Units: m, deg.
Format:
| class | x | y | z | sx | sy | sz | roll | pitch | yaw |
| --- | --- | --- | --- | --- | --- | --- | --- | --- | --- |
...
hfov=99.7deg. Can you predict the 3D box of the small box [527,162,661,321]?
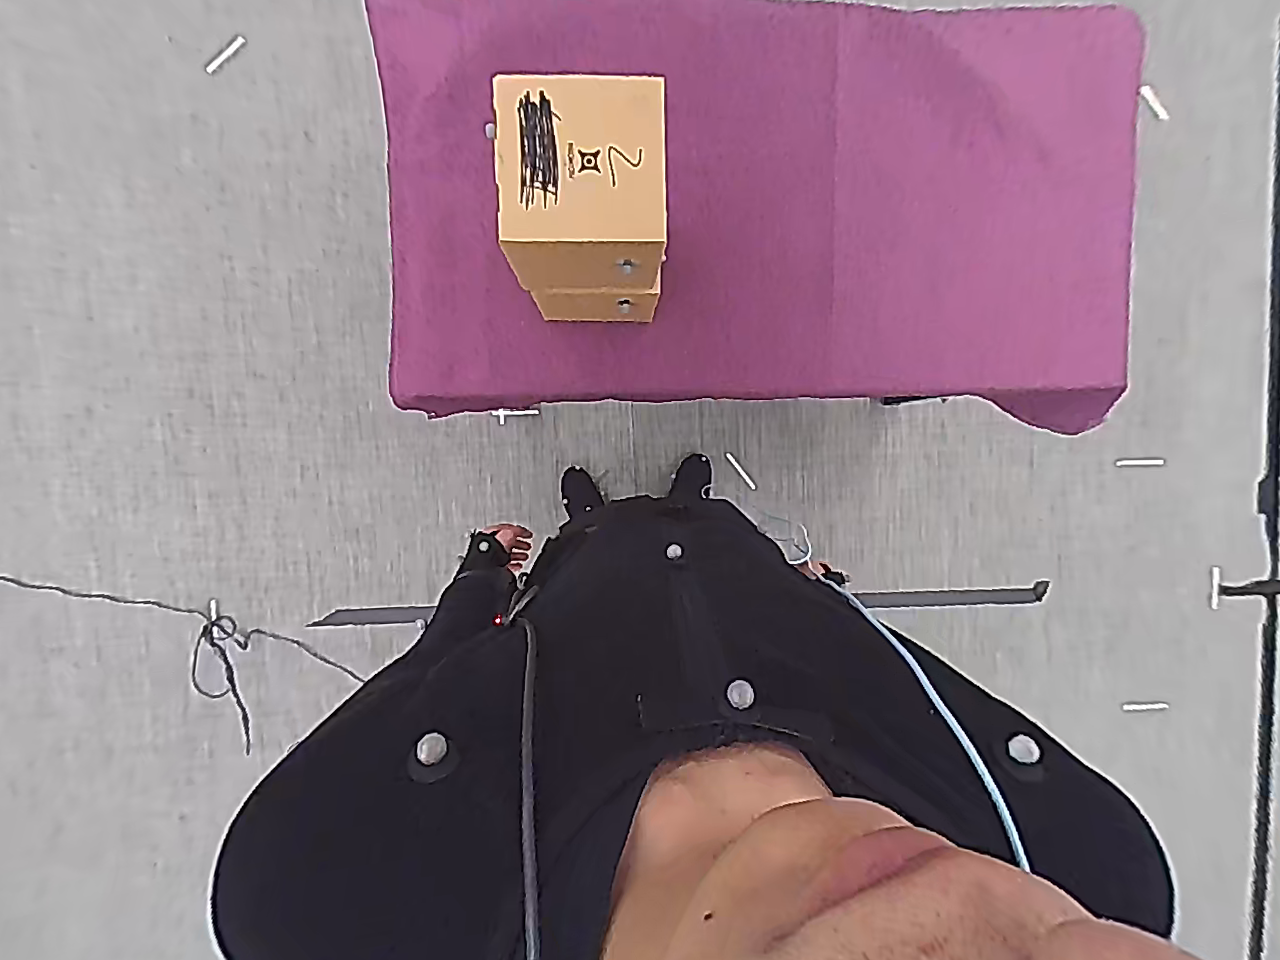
| class | x | y | z | sx | sy | sz | roll | pitch | yaw |
| --- | --- | --- | --- | --- | --- | --- | --- | --- | --- |
| small box | -0.066 | -0.335 | 0.790 | 0.179 | 0.176 | 0.168 | 0 | 94 | -3 |
